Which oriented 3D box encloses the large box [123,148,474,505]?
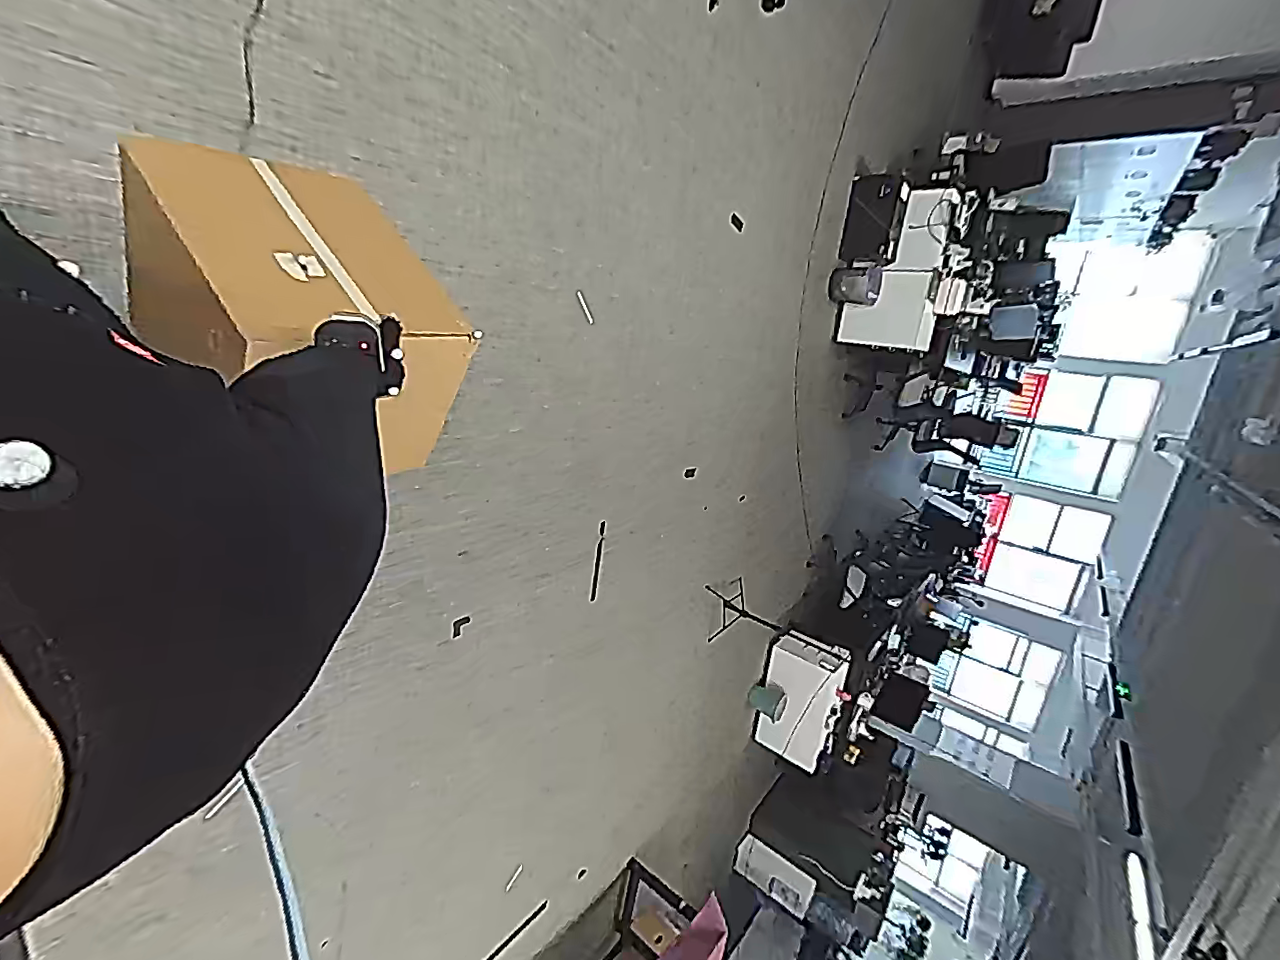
[{"bbox_3d":[-0.551,-0.233,0.868,0.320,0.408,0.320,-22,158,-50],"label":"large box"}]
